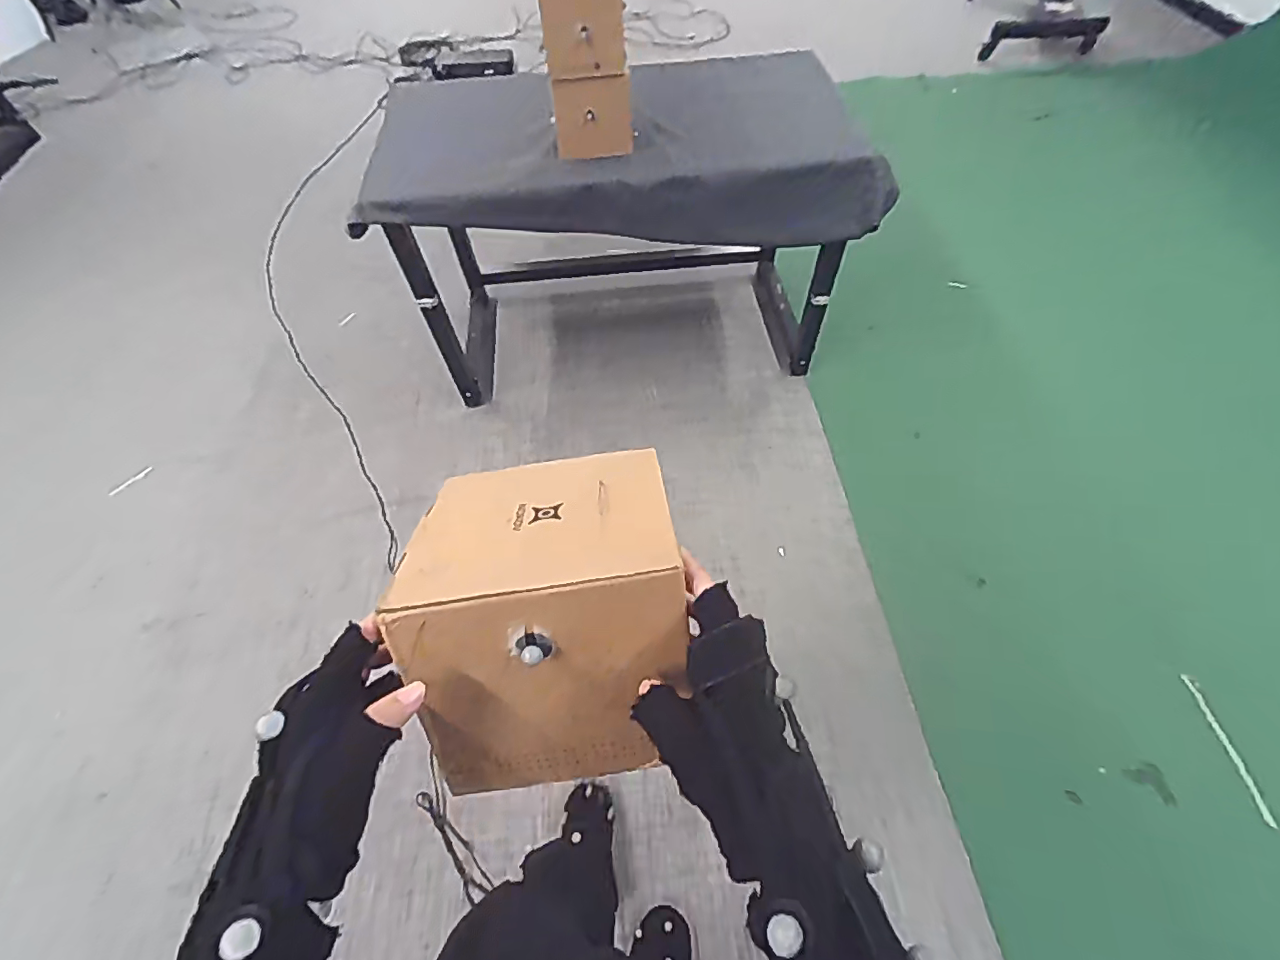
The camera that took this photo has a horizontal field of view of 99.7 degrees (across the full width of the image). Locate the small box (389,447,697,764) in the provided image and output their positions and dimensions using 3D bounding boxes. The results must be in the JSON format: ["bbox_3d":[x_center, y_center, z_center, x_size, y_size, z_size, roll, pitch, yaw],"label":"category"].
[{"bbox_3d":[-0.058,0.091,0.421,0.179,0.176,0.168,-7,27,-1],"label":"small box"}]

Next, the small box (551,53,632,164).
[{"bbox_3d":[-0.110,-0.877,1.279,0.179,0.176,0.168,-5,57,0],"label":"small box"}]

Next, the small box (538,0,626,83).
[{"bbox_3d":[-0.120,-0.966,1.143,0.168,0.176,0.179,-6,57,-1],"label":"small box"}]
